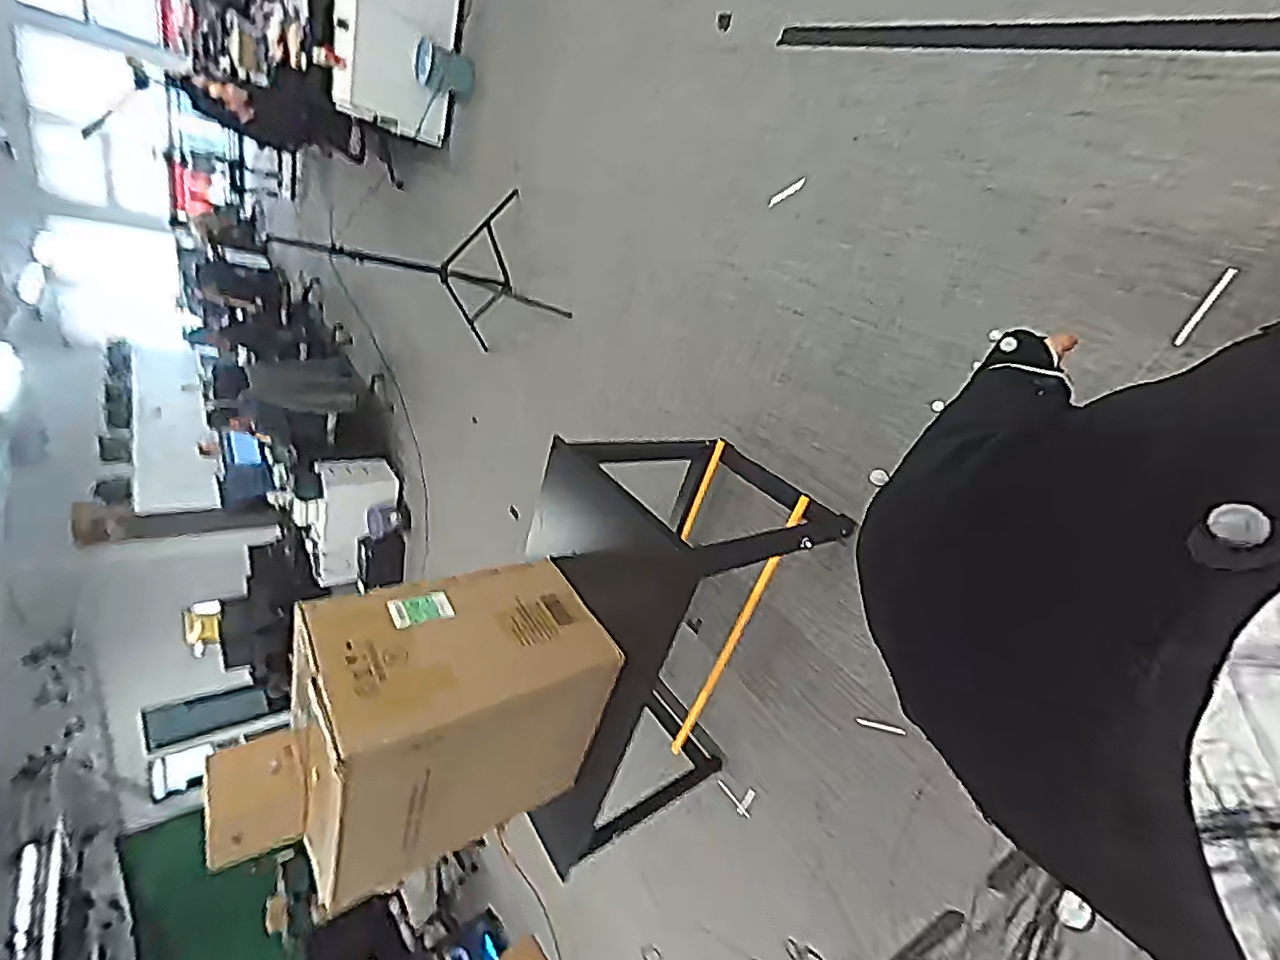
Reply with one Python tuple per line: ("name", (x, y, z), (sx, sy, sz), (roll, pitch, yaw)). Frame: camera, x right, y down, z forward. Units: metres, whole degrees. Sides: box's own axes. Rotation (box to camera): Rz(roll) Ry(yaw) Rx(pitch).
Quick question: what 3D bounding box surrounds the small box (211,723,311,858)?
("small box", (-0.841, 0.680, 1.200), (0.168, 0.176, 0.179), (43, 123, 40))
